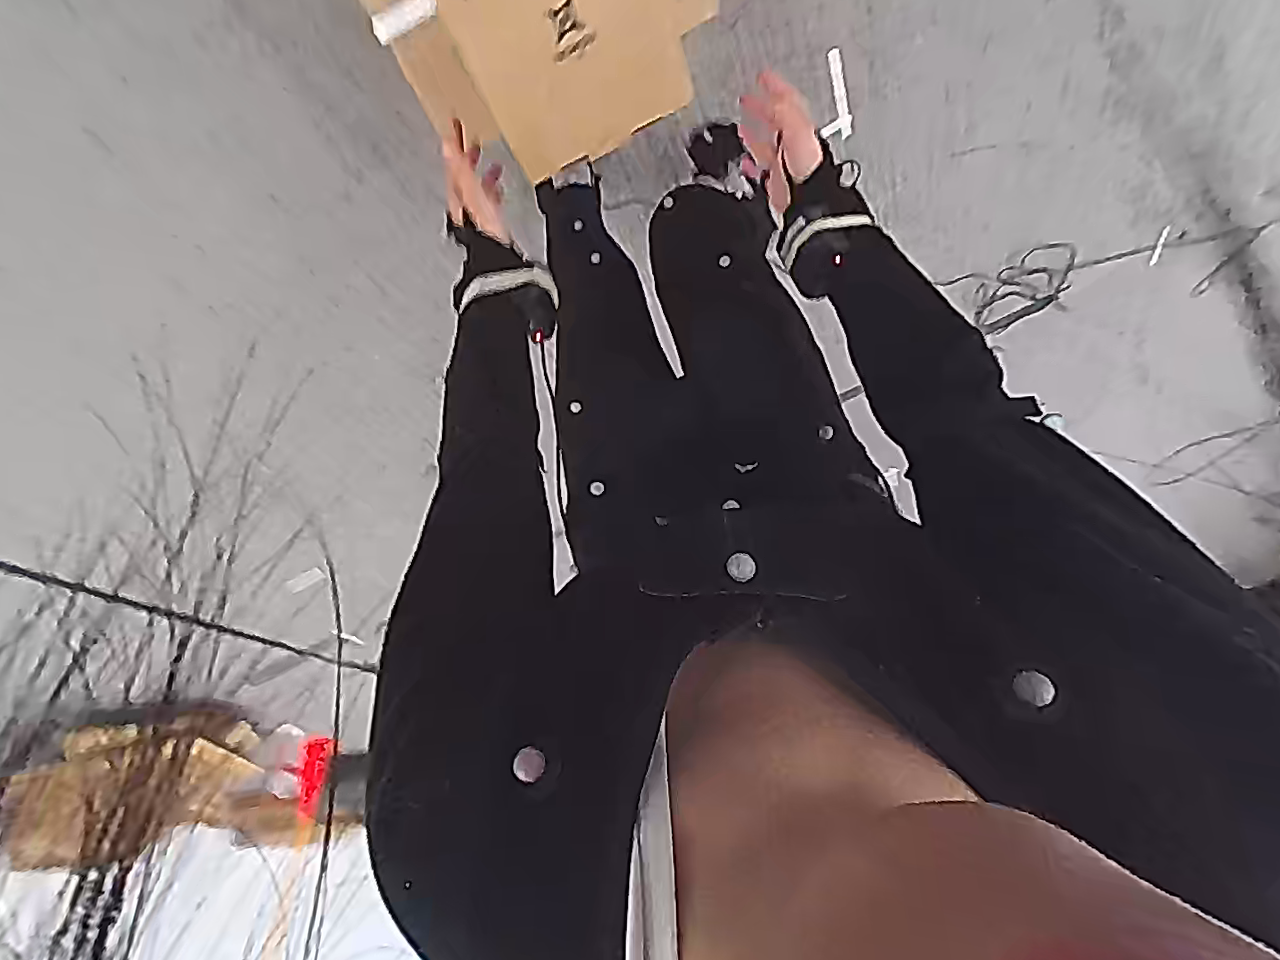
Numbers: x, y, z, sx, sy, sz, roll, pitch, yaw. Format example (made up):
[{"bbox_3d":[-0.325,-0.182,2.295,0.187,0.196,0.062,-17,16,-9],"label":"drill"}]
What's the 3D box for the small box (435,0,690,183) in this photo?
[{"bbox_3d":[-0.075,-0.408,0.469,0.168,0.176,0.179,-24,142,7],"label":"small box"}]
